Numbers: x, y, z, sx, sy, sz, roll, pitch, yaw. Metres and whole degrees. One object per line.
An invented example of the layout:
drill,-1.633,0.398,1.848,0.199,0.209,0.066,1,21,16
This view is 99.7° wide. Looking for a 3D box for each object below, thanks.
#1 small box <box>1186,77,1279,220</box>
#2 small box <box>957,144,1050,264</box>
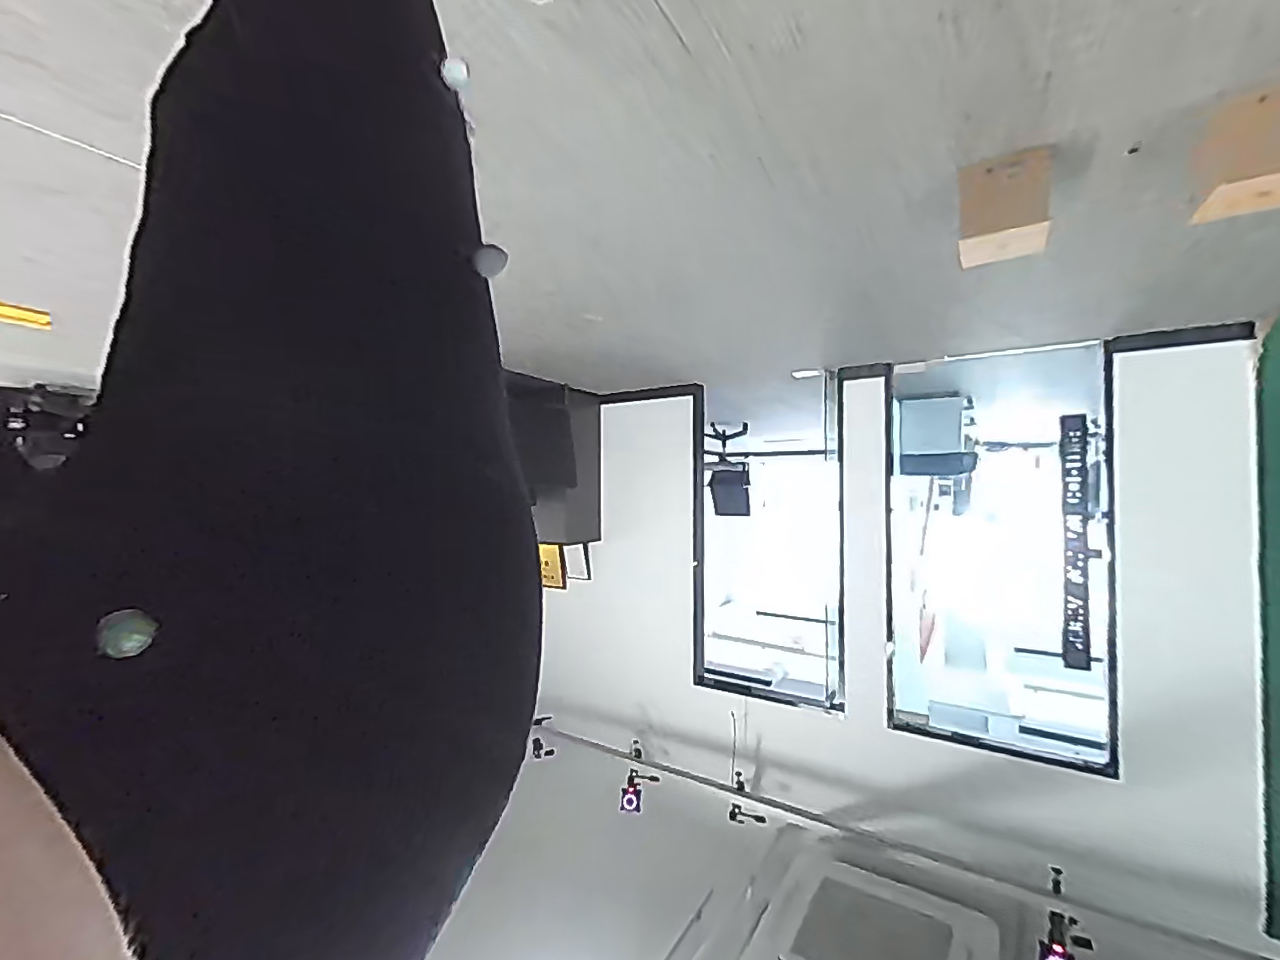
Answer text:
small box,1.154,-0.624,1.007,0.168,0.176,0.179,-2,180,33
small box,0.819,-0.618,1.225,0.168,0.176,0.179,-2,179,33
